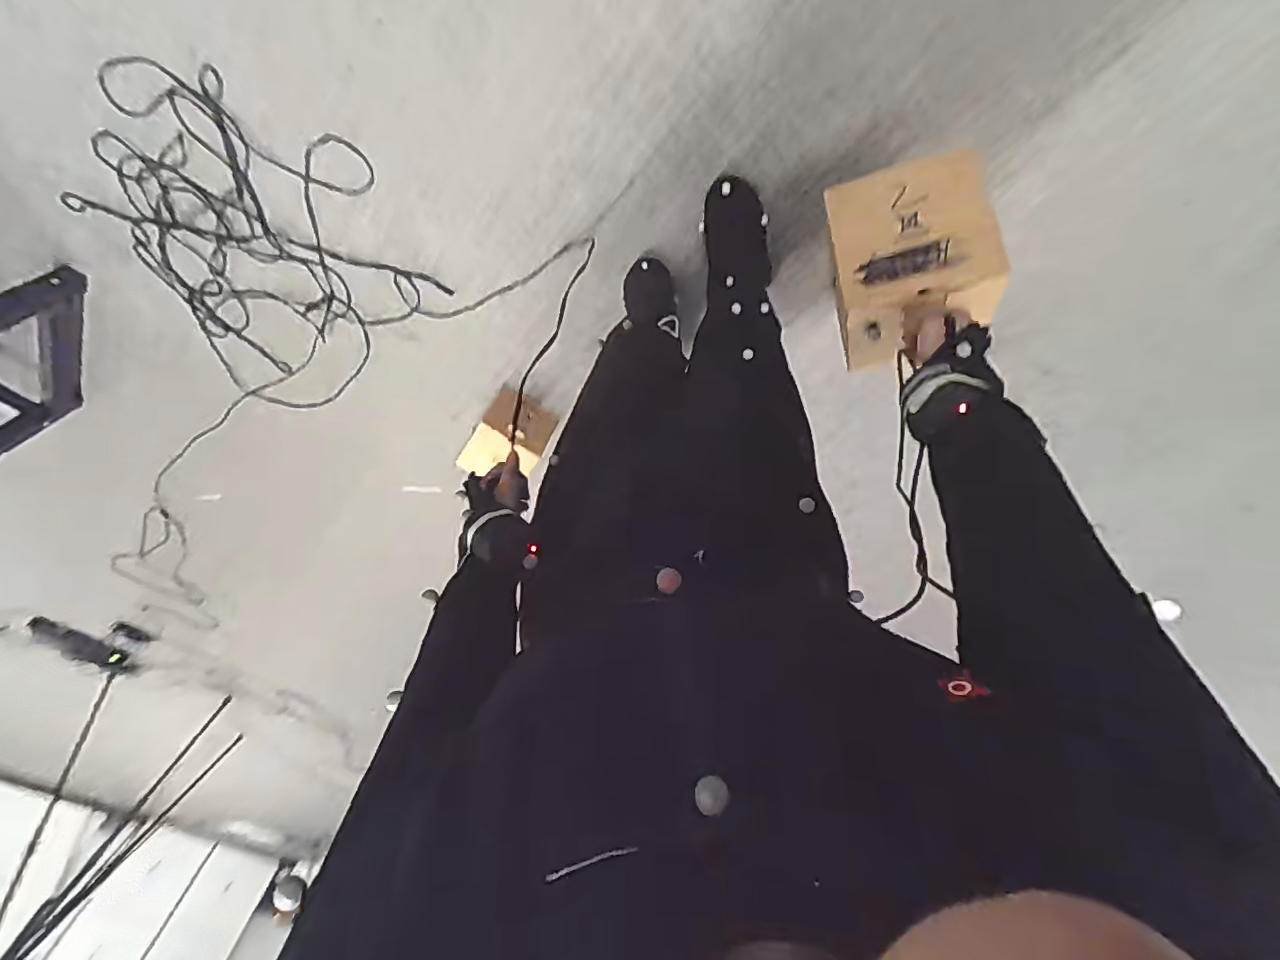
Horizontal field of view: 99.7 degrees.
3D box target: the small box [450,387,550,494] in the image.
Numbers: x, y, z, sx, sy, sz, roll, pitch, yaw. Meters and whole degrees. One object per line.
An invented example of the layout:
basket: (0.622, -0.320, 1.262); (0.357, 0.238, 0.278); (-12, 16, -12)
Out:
small box: (-0.354, -0.103, 1.394); (0.168, 0.176, 0.179); (33, 129, -17)
